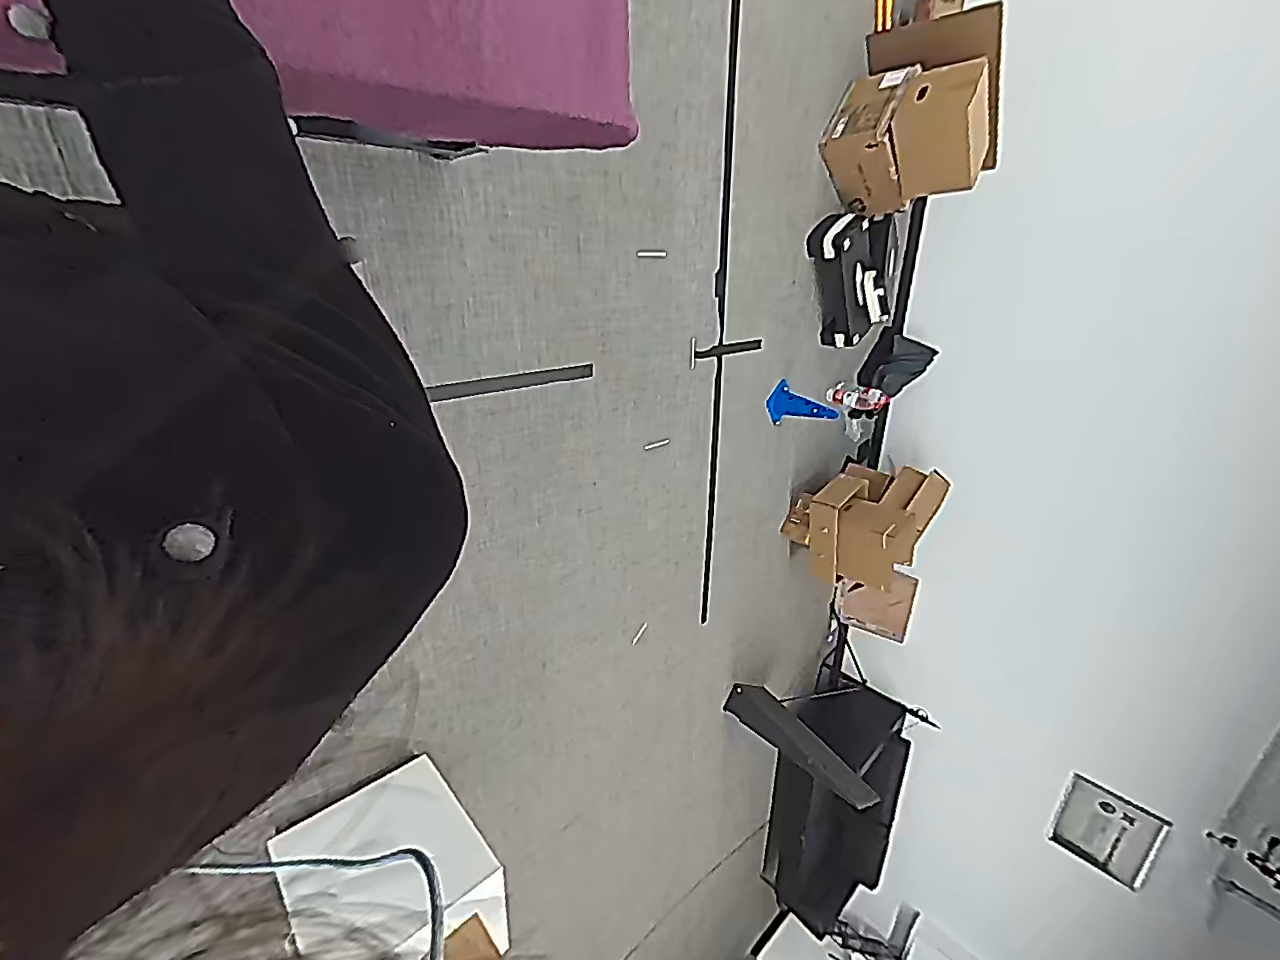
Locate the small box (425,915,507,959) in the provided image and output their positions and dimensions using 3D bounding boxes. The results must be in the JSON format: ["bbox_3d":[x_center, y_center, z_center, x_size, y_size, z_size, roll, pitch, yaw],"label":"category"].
[{"bbox_3d":[-0.491,1.403,1.533,0.179,0.176,0.168,-20,120,-39],"label":"small box"}]
